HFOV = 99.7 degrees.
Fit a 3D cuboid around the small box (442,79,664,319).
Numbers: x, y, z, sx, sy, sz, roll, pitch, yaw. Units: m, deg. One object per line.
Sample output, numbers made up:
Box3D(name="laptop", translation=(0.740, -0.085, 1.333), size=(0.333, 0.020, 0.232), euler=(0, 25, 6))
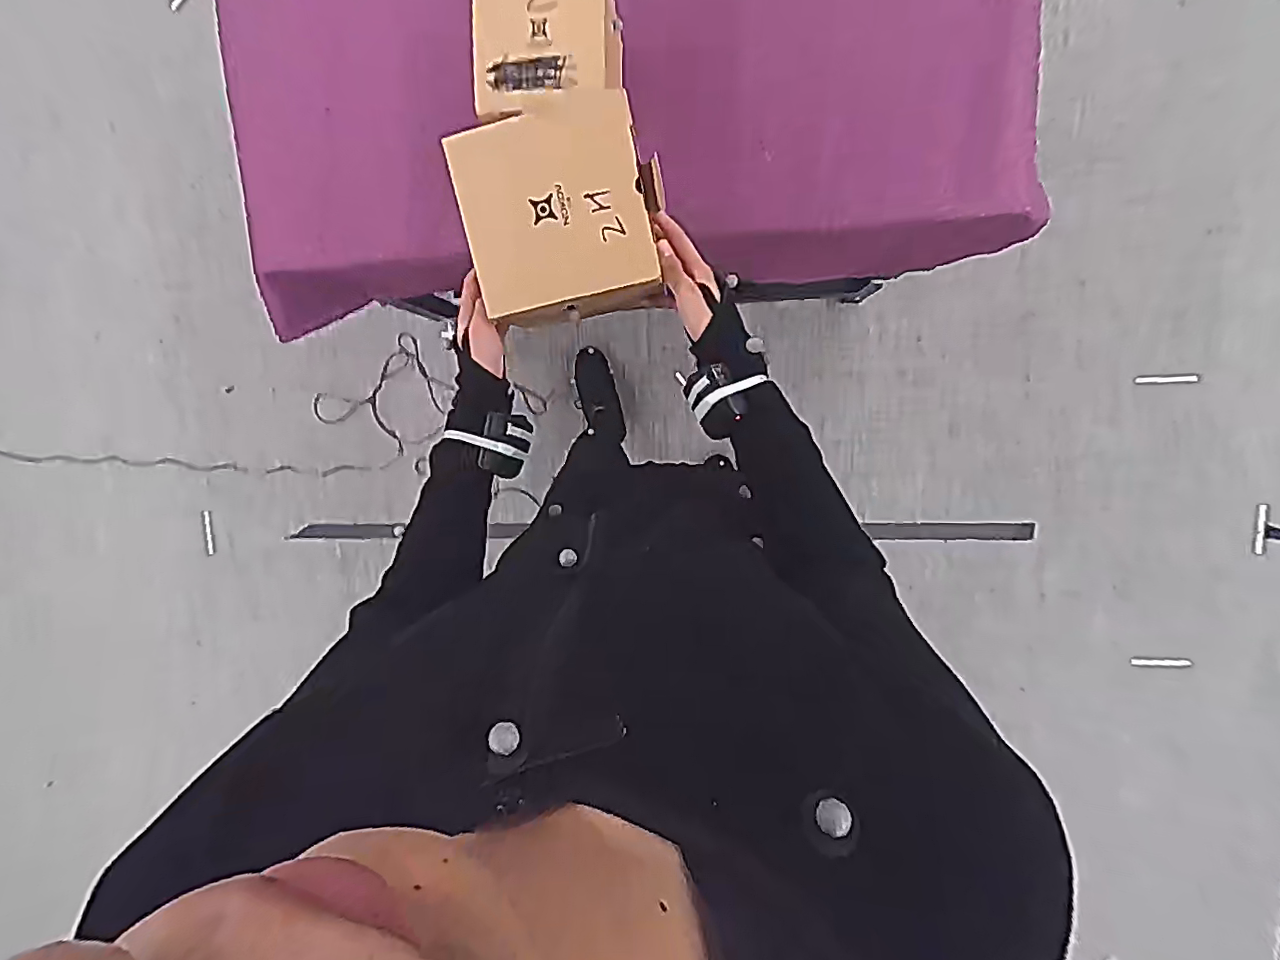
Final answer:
Box3D(name="small box", translation=(-0.076, -0.276, 0.576), size=(0.179, 0.176, 0.168), euler=(-11, 101, 6))
